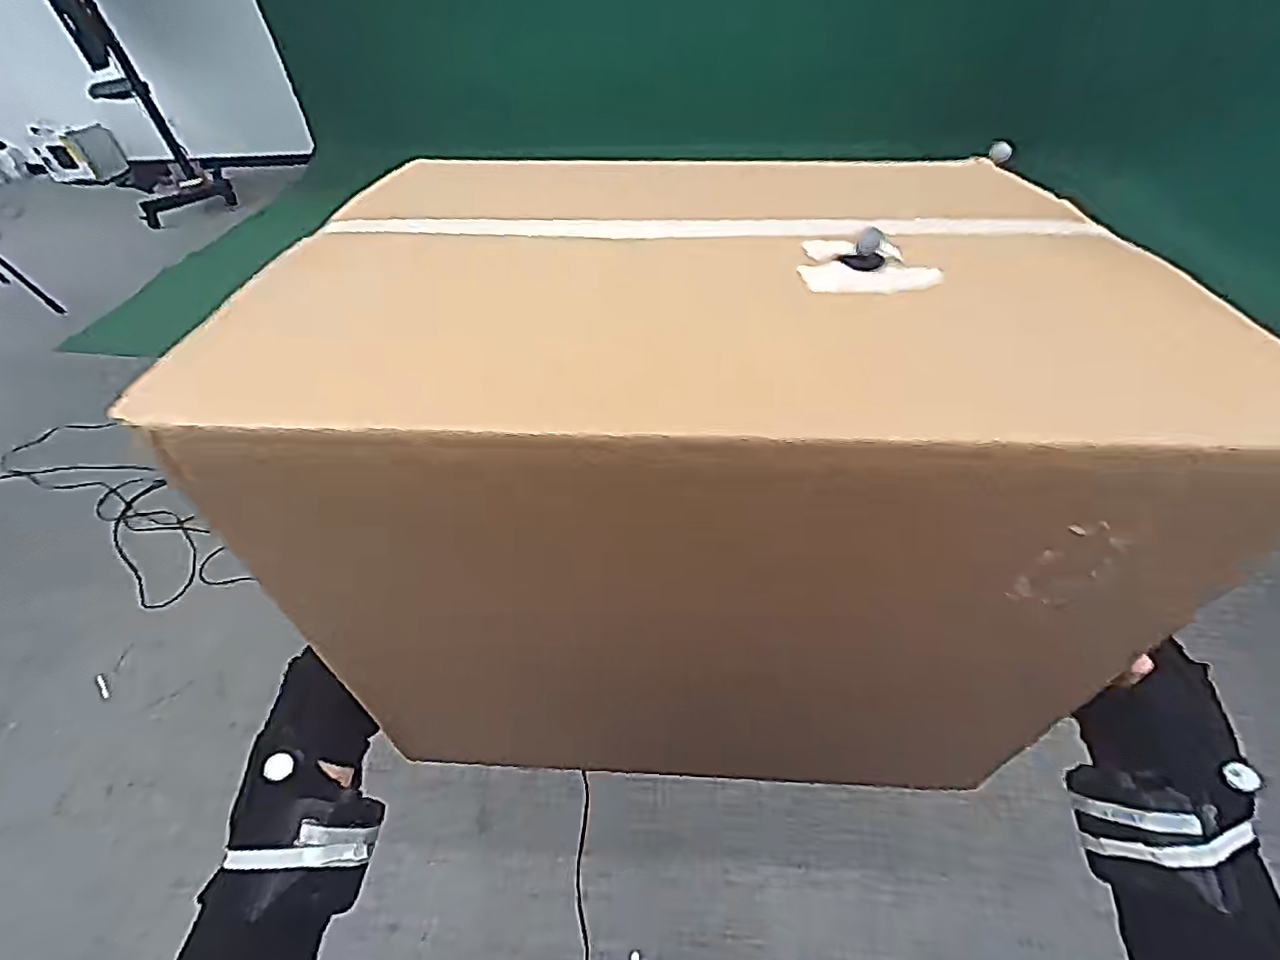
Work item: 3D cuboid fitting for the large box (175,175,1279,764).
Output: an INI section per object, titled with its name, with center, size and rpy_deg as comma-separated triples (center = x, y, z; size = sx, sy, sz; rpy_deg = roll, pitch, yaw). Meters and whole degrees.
[large box]
center = 0.036, -0.013, 0.394
size = 0.408, 0.320, 0.320
rpy_deg = 2, 45, 2
